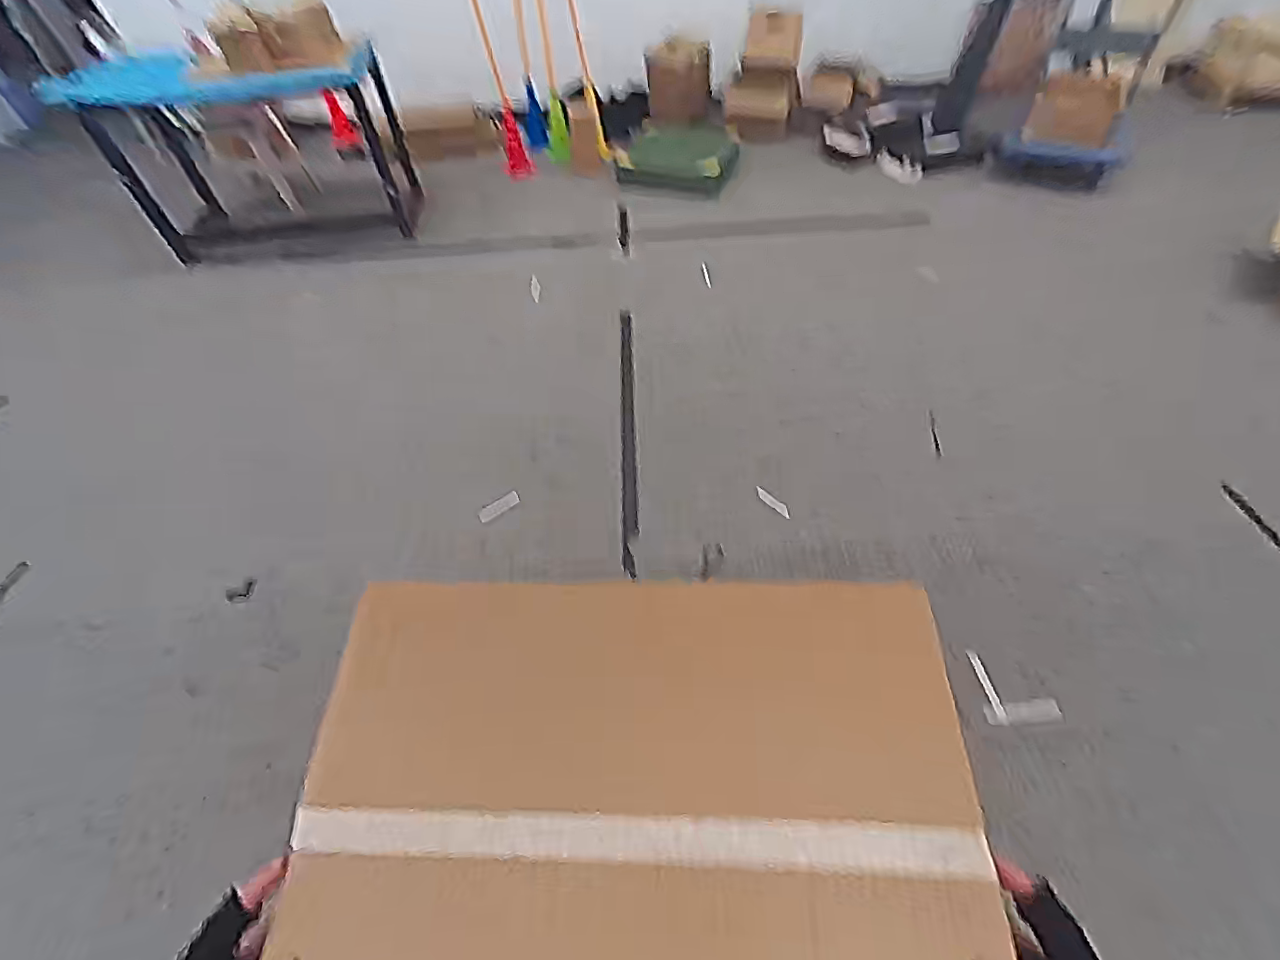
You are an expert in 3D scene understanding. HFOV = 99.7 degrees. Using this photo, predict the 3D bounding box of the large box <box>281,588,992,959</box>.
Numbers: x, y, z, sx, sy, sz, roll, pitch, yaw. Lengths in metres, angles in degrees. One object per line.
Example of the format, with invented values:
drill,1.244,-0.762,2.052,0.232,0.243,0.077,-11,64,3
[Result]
large box,0.003,0.288,0.457,0.408,0.320,0.320,-1,62,5
